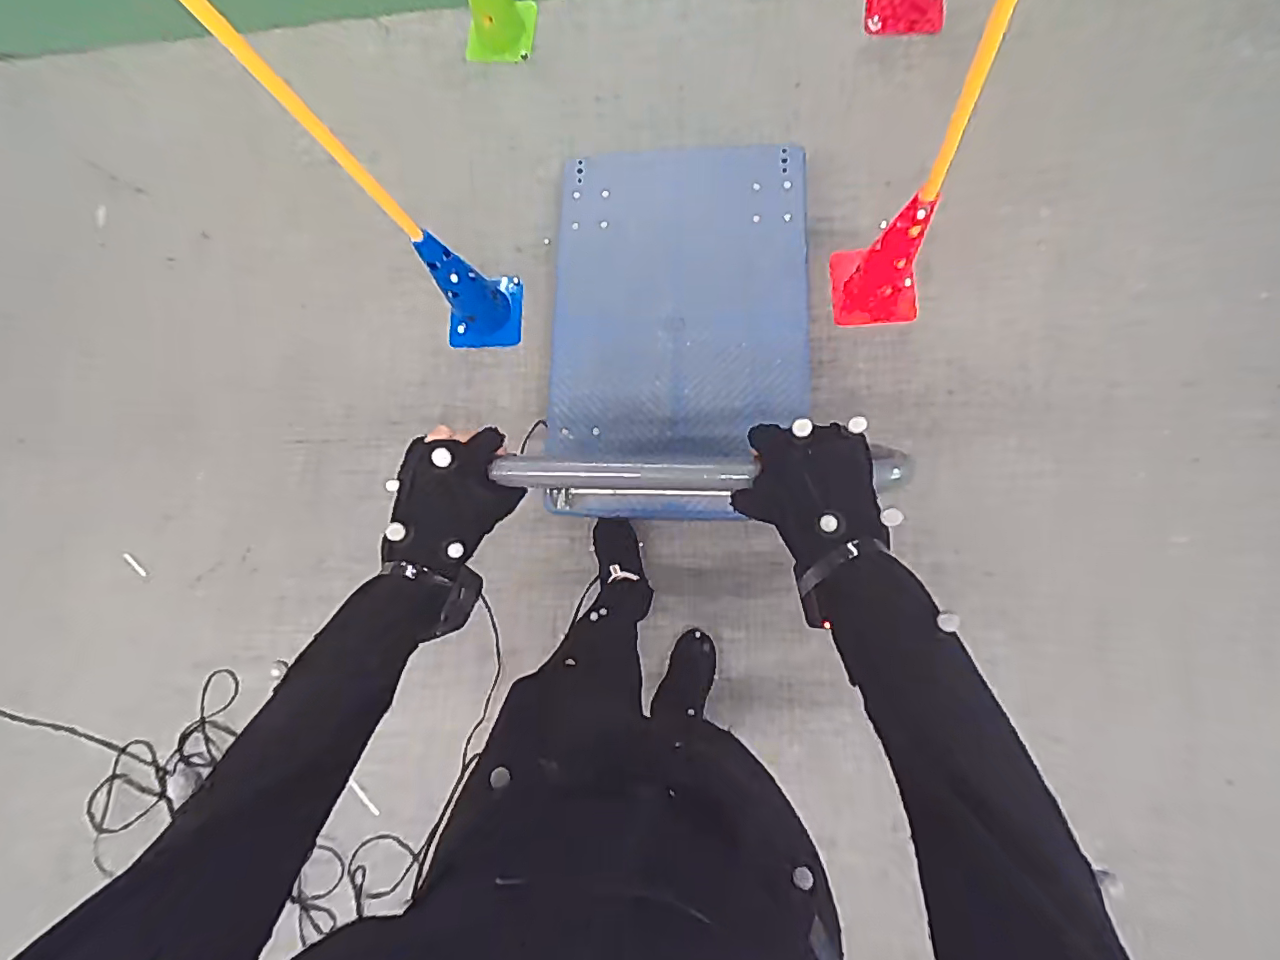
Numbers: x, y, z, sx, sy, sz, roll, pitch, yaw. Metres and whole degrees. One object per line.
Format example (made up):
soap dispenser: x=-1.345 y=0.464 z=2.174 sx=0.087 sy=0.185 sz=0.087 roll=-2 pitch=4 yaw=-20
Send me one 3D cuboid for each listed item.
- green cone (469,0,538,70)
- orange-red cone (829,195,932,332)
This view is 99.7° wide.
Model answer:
green cone: x=-0.427 y=-1.341 z=1.441 sx=0.202 sy=0.368 sz=0.200 roll=4 pitch=81 yaw=8
orange-red cone: x=0.560 y=-0.498 z=1.202 sx=0.199 sy=0.360 sz=0.198 roll=-1 pitch=81 yaw=8
